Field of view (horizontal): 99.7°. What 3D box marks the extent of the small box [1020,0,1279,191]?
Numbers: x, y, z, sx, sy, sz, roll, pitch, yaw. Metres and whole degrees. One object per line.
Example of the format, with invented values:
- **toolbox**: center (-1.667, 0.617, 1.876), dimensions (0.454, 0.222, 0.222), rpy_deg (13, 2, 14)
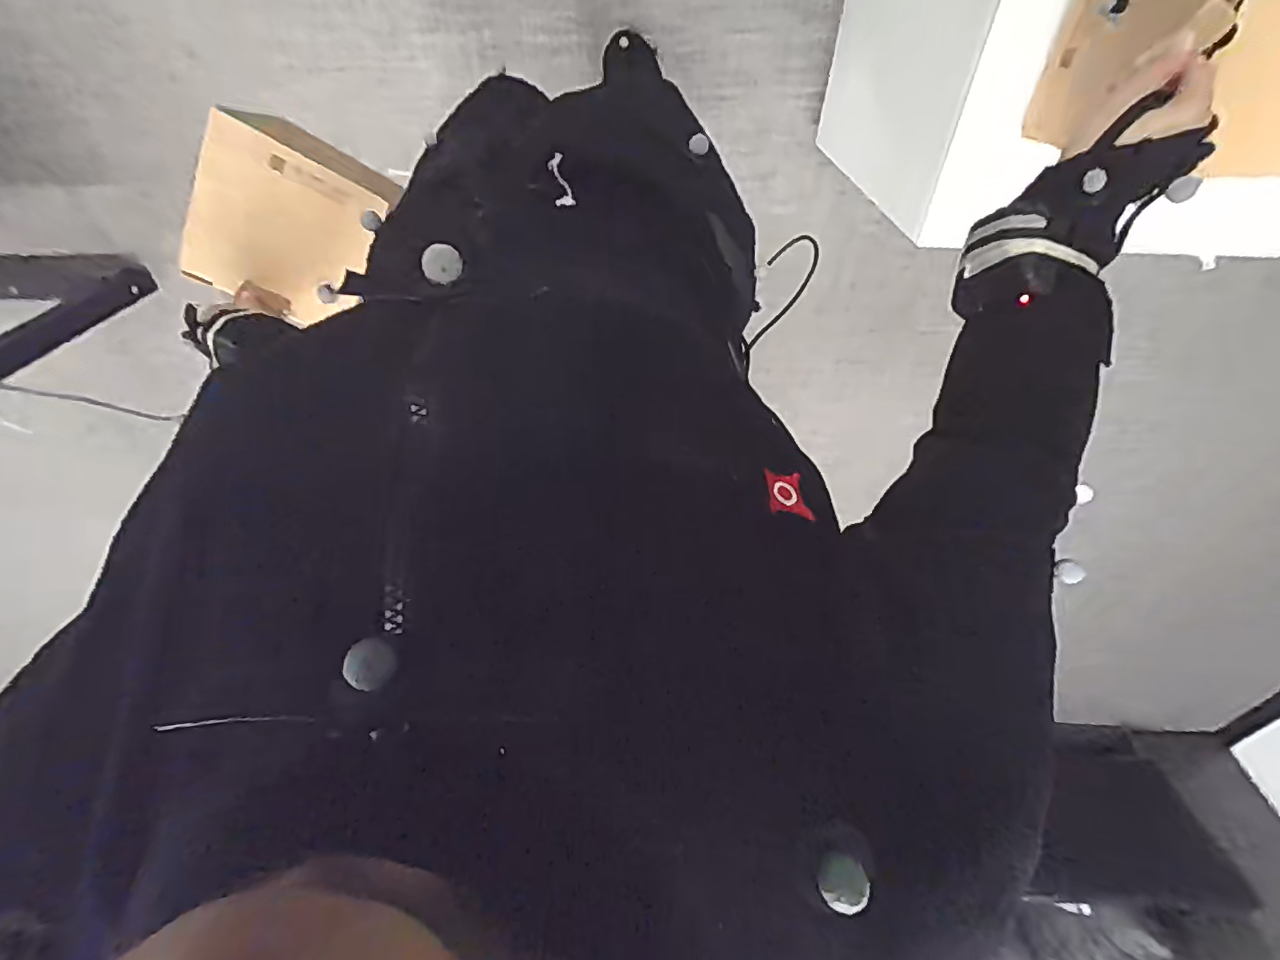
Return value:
- **small box**: center (0.451, -0.335, 0.414), dimensions (0.179, 0.176, 0.168), rpy_deg (0, 133, 0)
